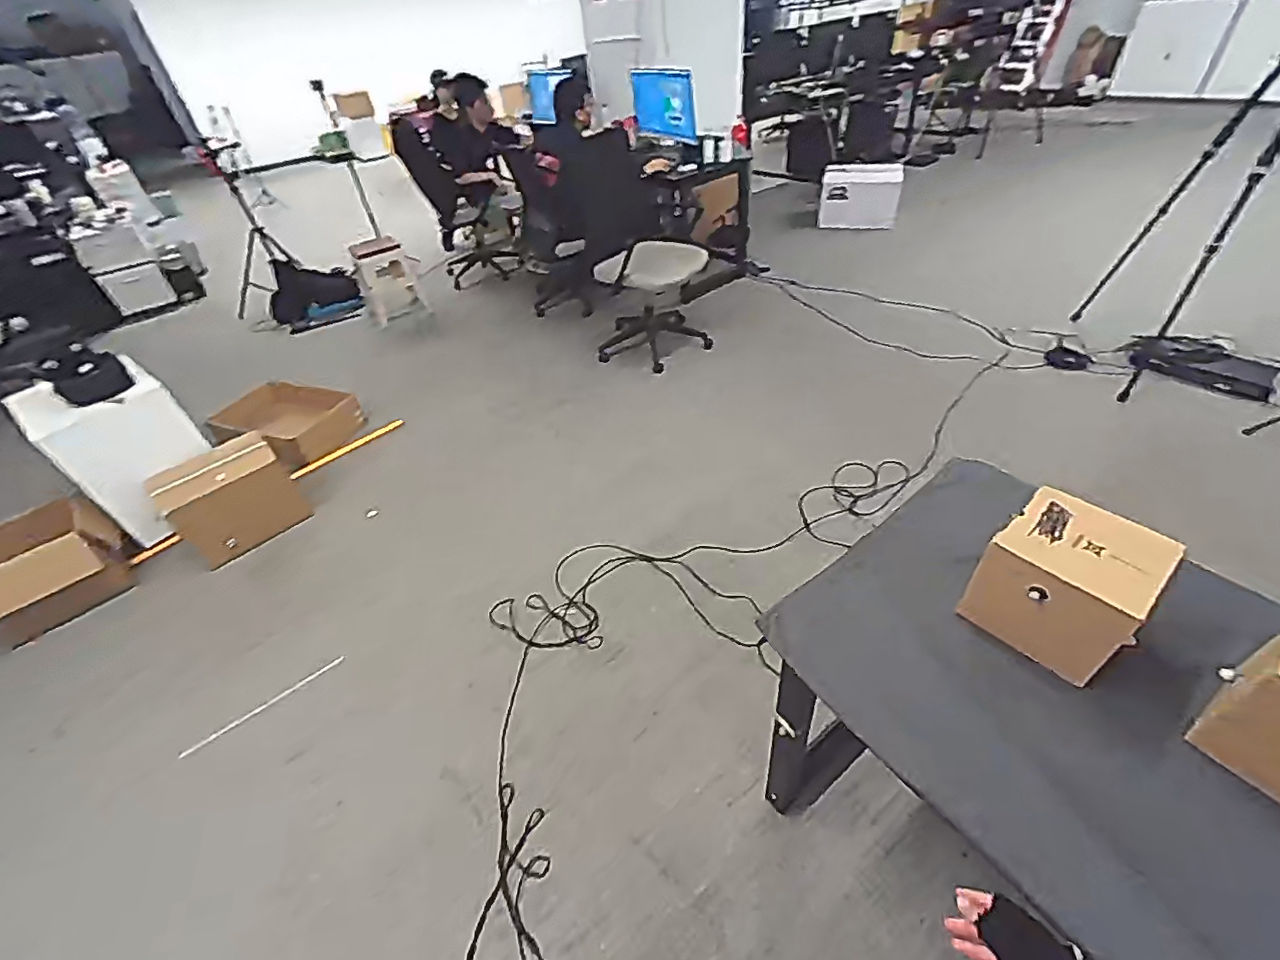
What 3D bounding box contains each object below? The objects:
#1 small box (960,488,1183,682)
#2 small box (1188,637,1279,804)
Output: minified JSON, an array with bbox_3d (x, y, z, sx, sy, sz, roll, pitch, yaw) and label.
[{"bbox_3d":[0.599,0.148,0.774,0.168,0.176,0.179,-32,48,-25],"label":"small box"},{"bbox_3d":[0.788,0.276,0.599,0.168,0.176,0.179,-28,44,-22],"label":"small box"}]
